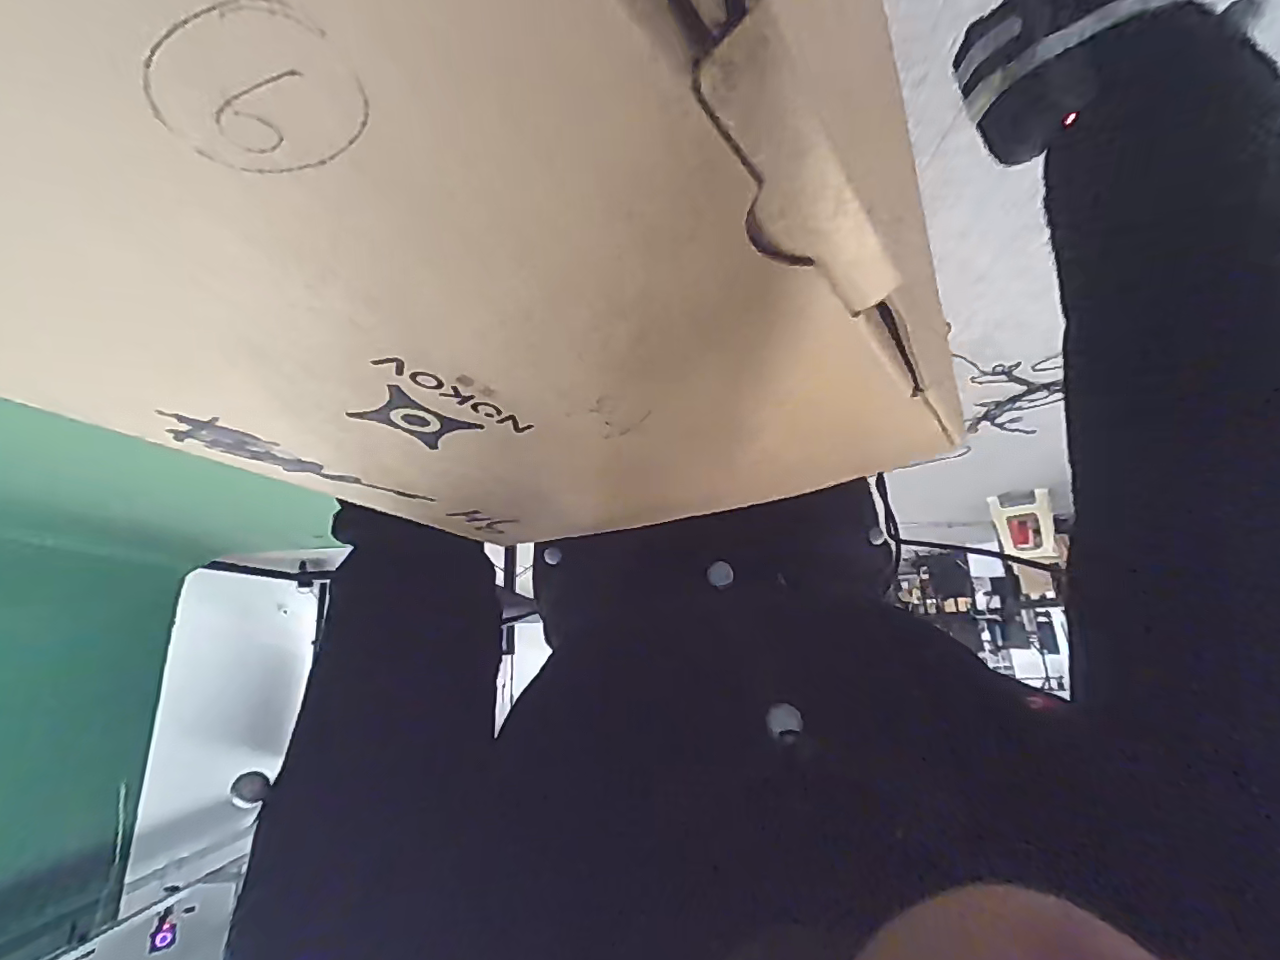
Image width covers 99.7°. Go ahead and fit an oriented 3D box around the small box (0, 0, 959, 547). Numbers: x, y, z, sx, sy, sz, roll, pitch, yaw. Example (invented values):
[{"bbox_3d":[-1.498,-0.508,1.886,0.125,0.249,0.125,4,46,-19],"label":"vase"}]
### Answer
[{"bbox_3d":[-0.040,-0.091,0.150,0.179,0.176,0.168,-16,151,38],"label":"small box"}]
